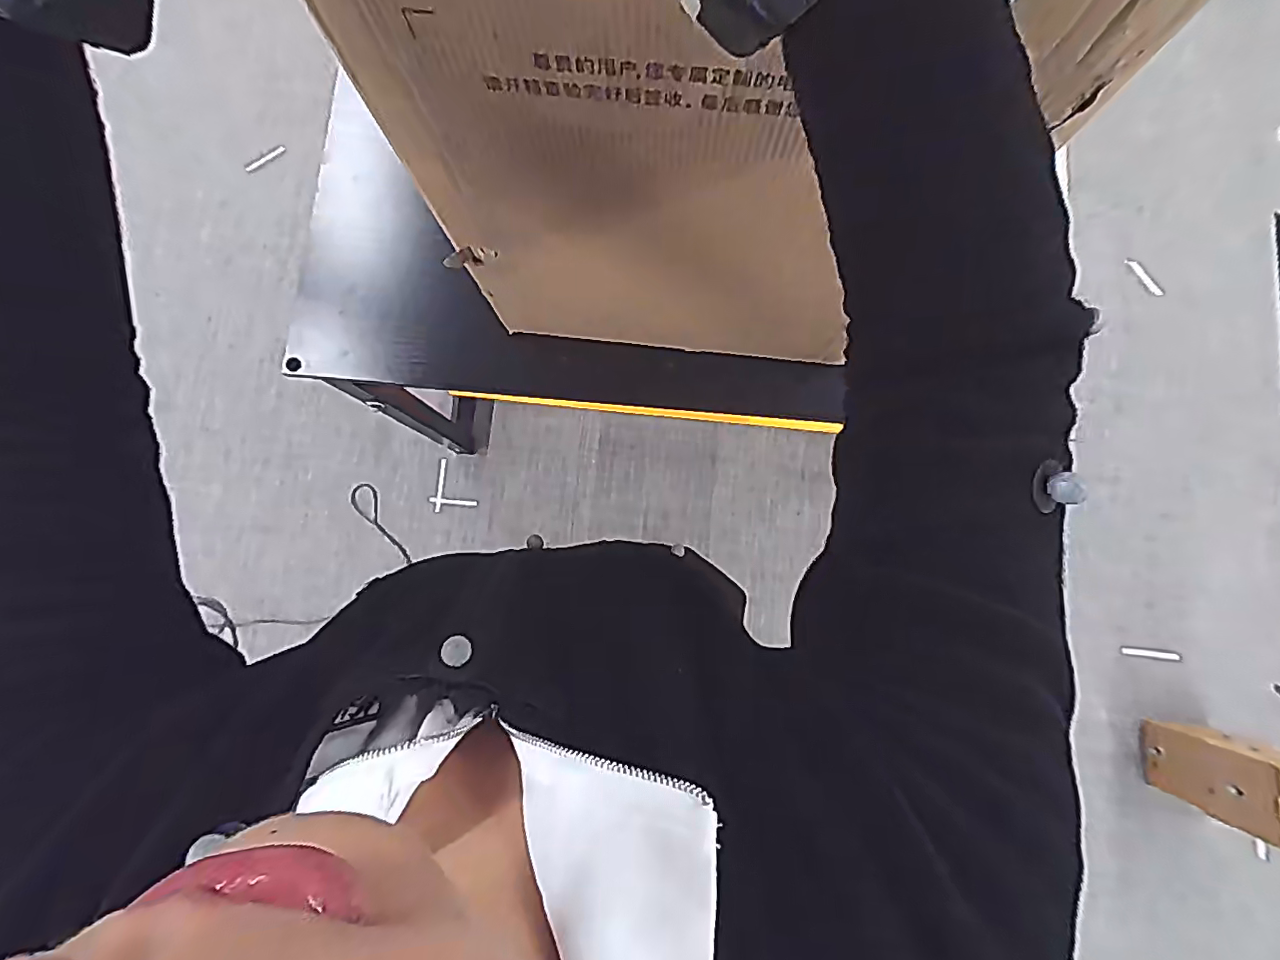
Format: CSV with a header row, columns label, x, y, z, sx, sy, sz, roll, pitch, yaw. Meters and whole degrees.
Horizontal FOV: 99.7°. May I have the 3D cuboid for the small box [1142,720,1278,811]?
label,x,y,z,sx,sy,sz,roll,pitch,yaw
small box,1.412,0.710,1.345,0.179,0.176,0.168,4,81,2

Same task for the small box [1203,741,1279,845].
label,x,y,z,sx,sy,sz,roll,pitch,yaw
small box,1.393,0.688,1.182,0.179,0.176,0.168,6,81,2
